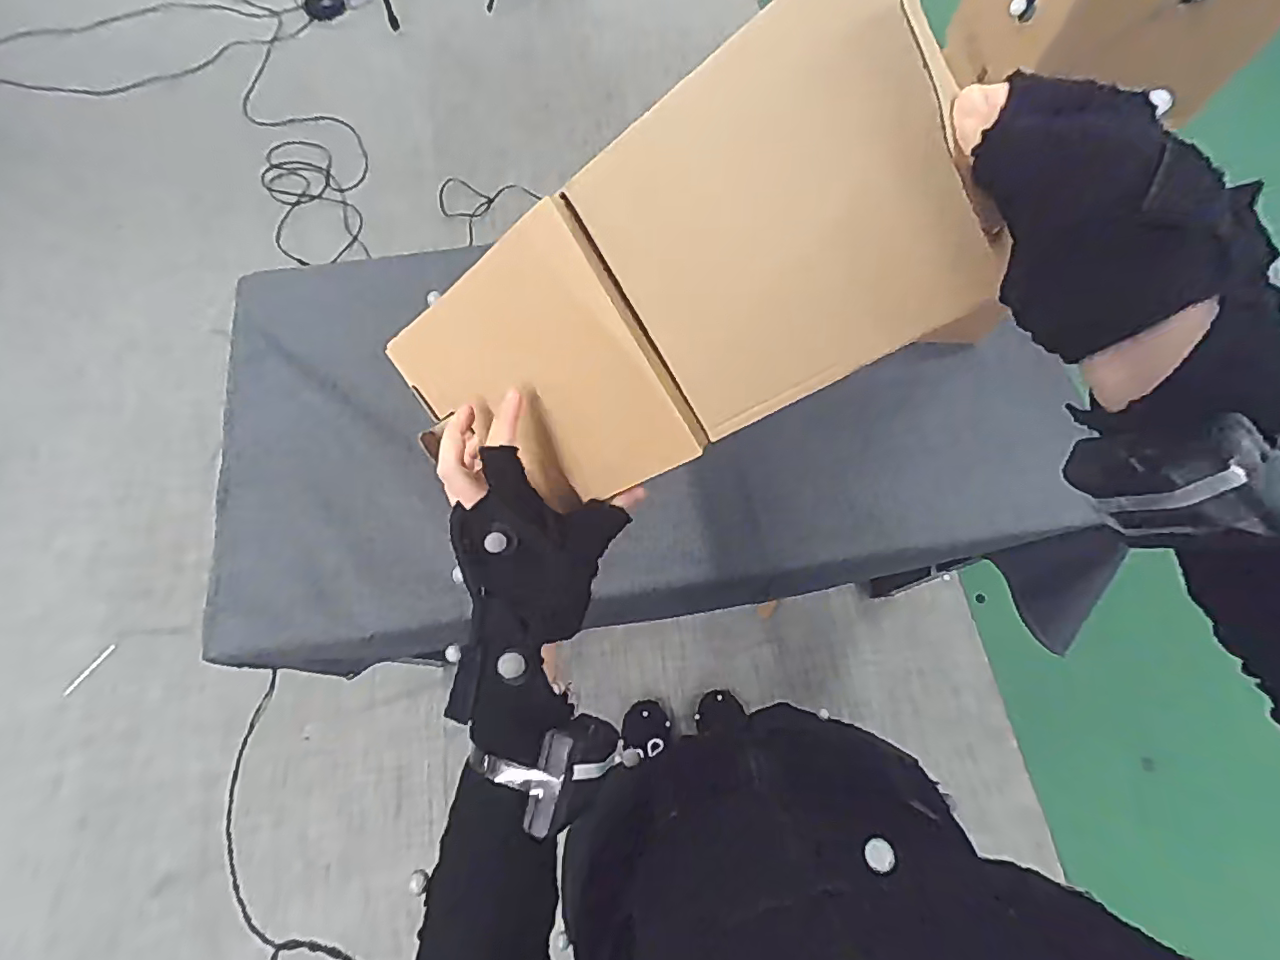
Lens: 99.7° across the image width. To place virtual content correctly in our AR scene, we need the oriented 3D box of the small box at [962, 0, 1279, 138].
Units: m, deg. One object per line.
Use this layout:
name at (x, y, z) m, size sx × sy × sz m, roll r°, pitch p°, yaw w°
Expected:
small box at (0.398, -0.415, 0.448) m, size 0.179 × 0.176 × 0.168 m, roll -1°, pitch 70°, yaw 1°

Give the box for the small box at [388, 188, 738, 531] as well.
small box at (-0.039, -0.094, 0.413) m, size 0.179 × 0.176 × 0.168 m, roll -26°, pitch 103°, yaw 29°
